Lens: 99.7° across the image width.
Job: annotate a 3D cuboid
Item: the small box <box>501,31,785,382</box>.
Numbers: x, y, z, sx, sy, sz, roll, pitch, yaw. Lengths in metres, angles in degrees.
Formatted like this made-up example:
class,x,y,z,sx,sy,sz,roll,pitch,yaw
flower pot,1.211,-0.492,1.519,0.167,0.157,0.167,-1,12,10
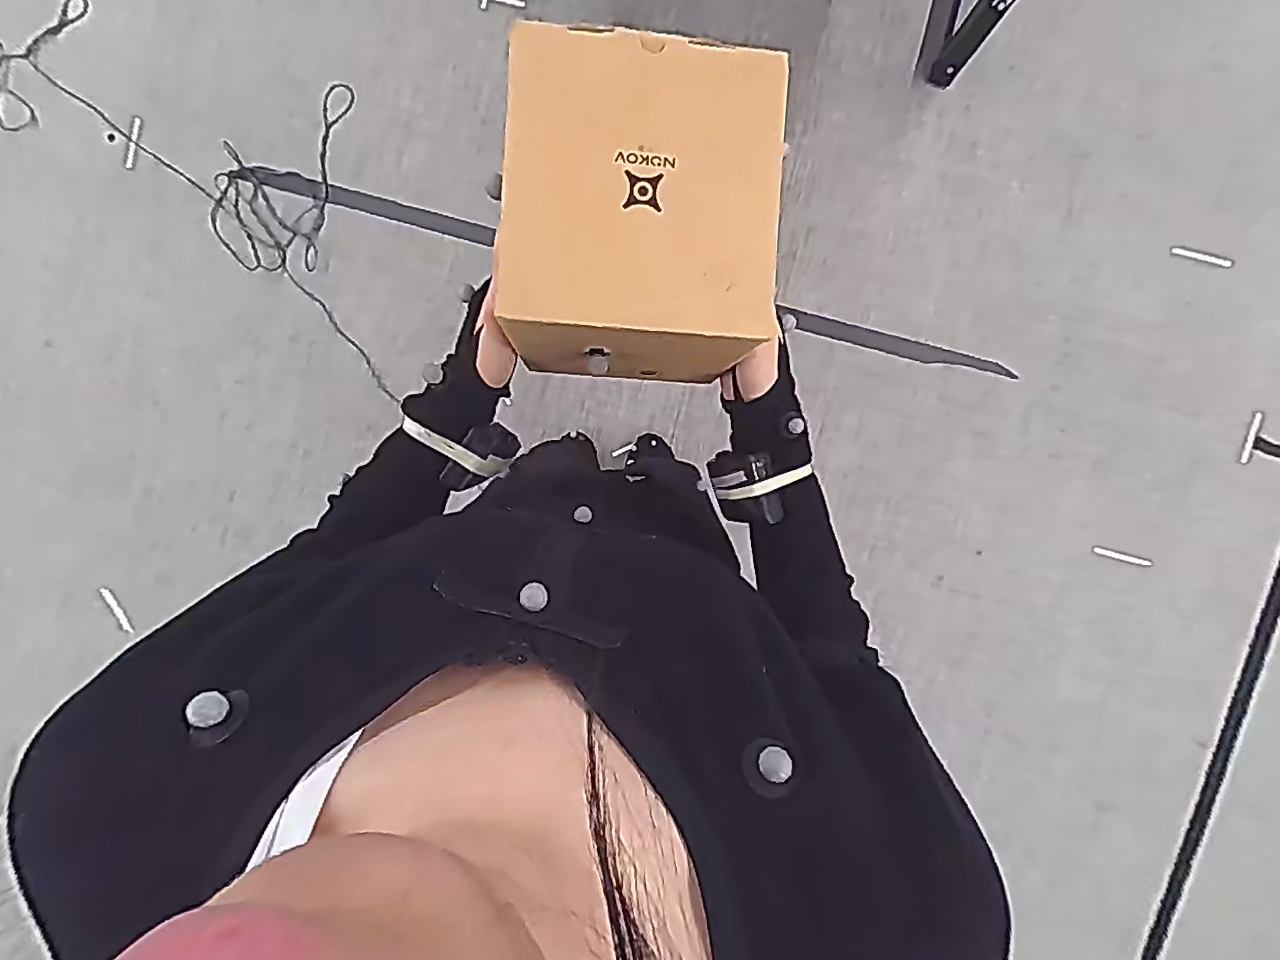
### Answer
class,x,y,z,sx,sy,sz,roll,pitch,yaw
small box,-0.002,-0.175,0.405,0.168,0.176,0.179,3,89,-5
